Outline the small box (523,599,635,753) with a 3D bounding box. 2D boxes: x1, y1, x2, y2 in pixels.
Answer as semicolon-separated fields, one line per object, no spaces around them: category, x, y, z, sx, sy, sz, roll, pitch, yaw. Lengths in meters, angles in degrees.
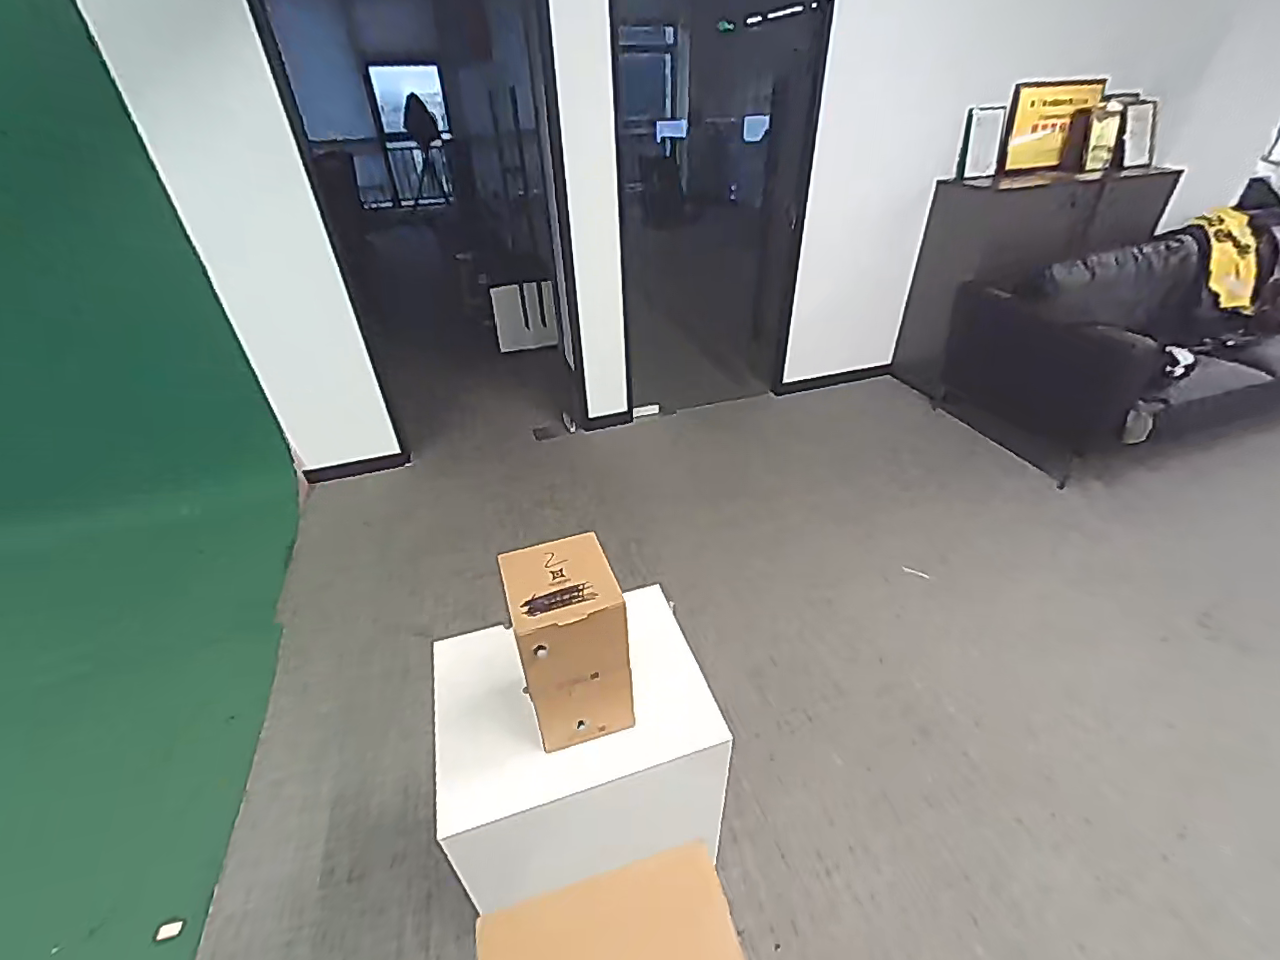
small box;-0.111;0.350;0.978;0.168;0.176;0.179;-12;36;-14
